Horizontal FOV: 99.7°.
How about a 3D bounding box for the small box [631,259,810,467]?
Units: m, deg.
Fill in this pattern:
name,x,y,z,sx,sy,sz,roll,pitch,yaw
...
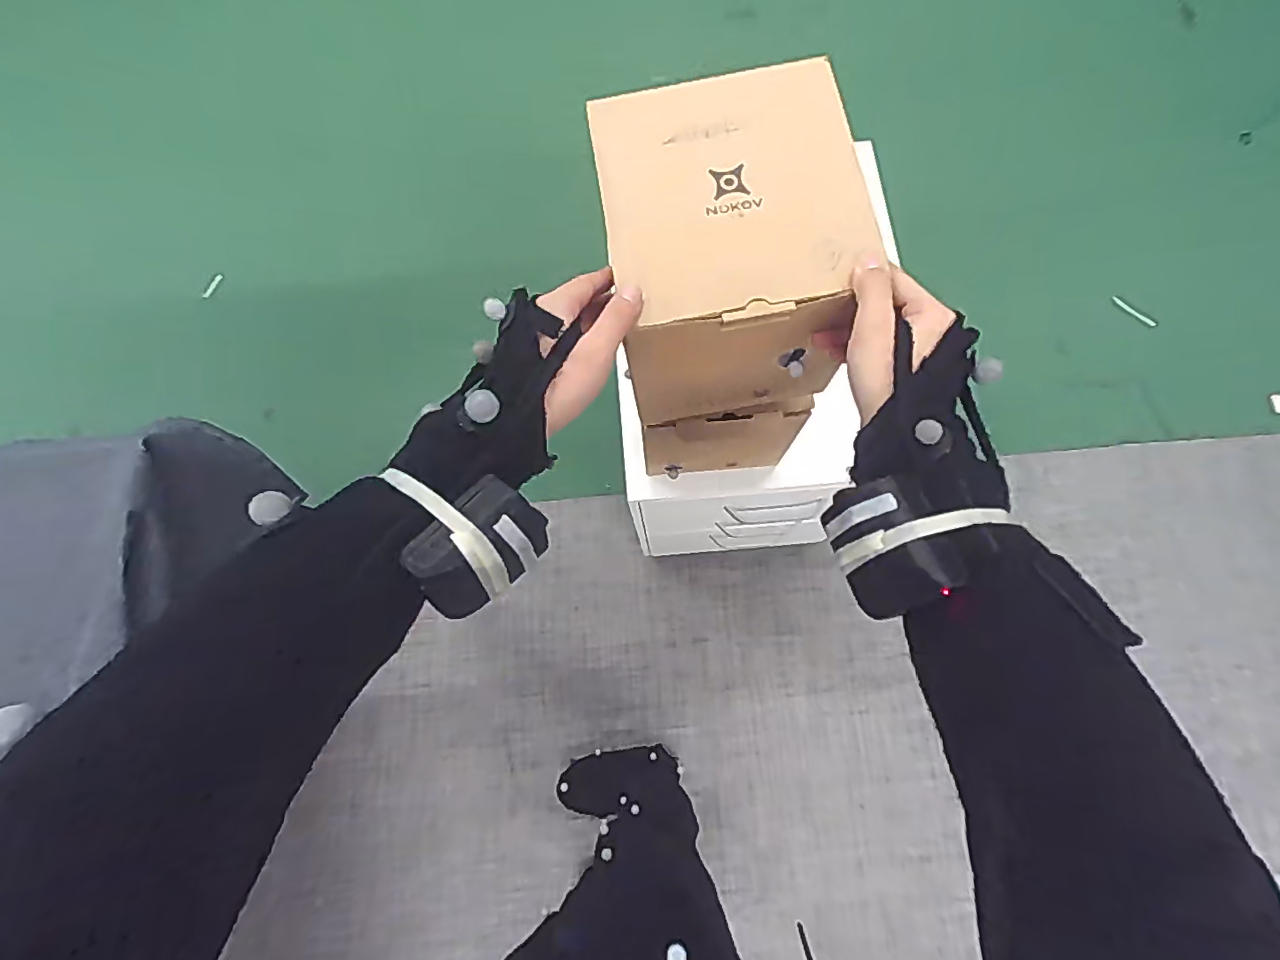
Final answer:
name,x,y,z,sx,sy,sz,roll,pitch,yaw
small box,0.080,-0.118,0.614,0.168,0.176,0.179,-4,74,0
